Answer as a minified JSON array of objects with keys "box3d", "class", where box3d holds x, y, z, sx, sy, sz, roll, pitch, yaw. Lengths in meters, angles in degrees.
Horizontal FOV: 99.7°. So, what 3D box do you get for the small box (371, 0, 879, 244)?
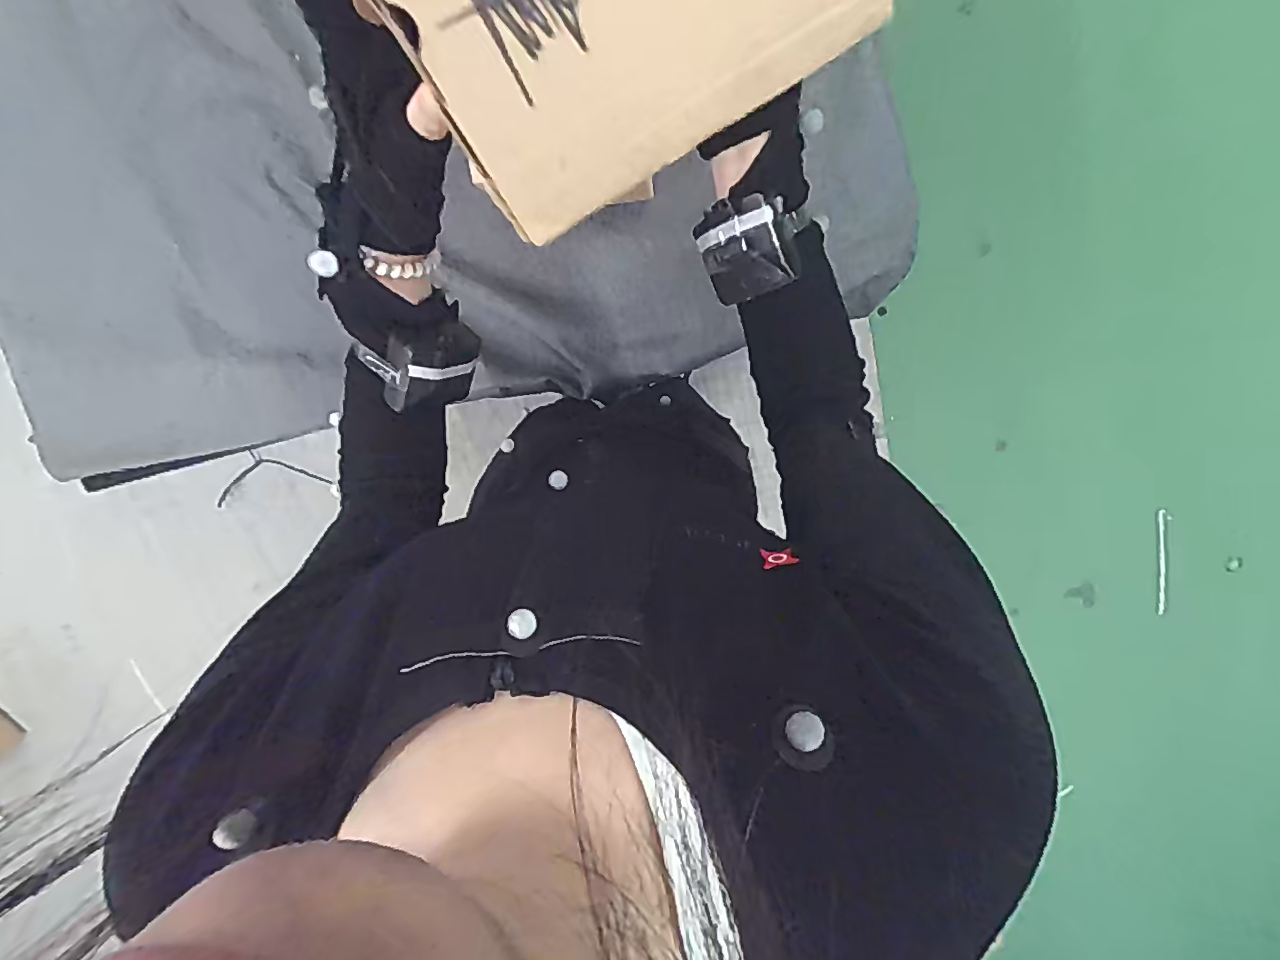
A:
[{"box3d":[-0.031,-0.243,0.223,0.179,0.176,0.168,-31,142,6],"class":"small box"}]
